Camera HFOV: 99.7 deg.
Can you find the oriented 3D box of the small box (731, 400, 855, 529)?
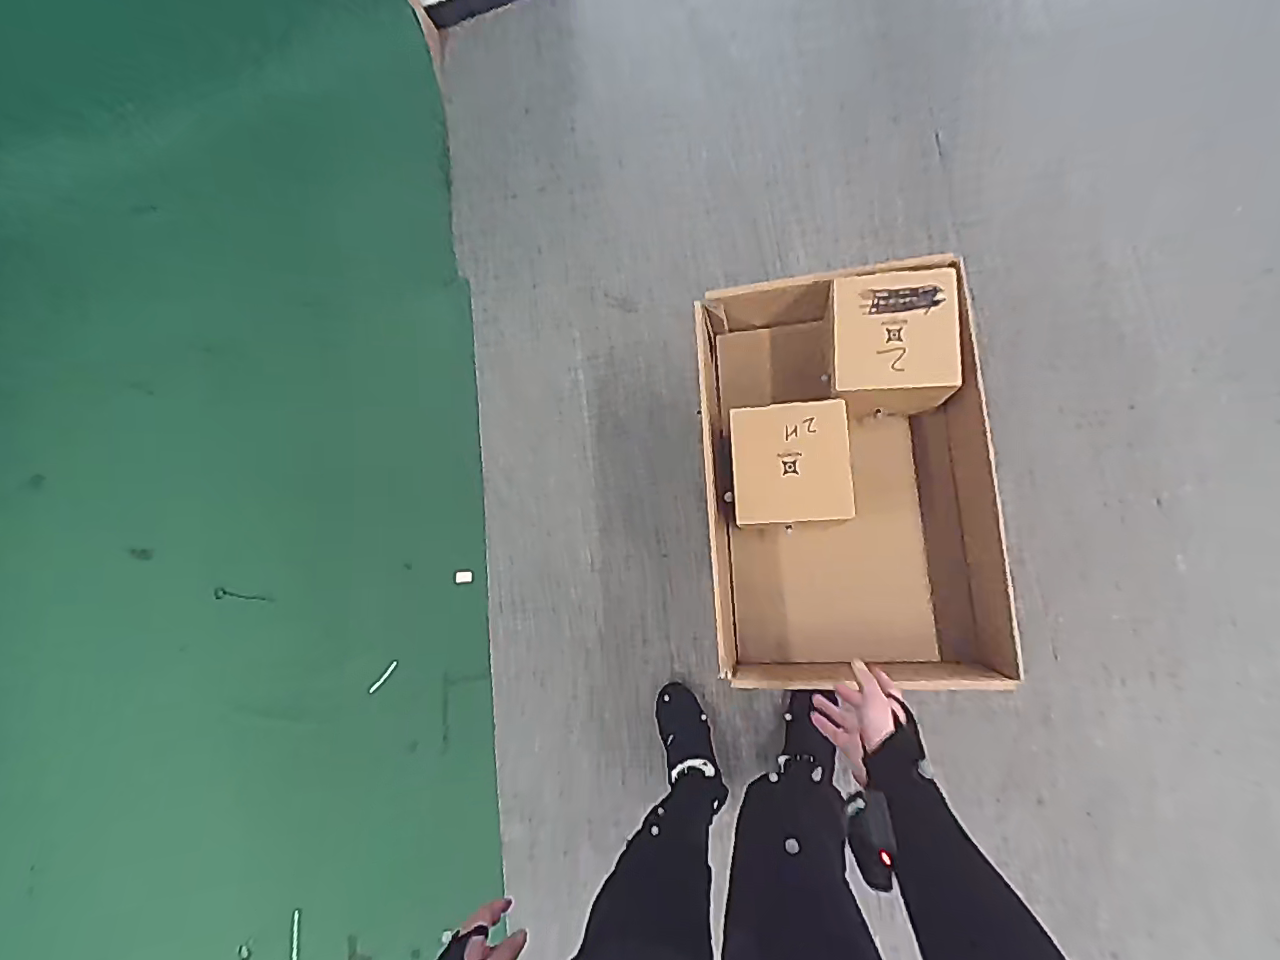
[{"bbox_3d":[0.235,-0.014,0.845,0.168,0.176,0.179,-4,81,13],"label":"small box"}]
